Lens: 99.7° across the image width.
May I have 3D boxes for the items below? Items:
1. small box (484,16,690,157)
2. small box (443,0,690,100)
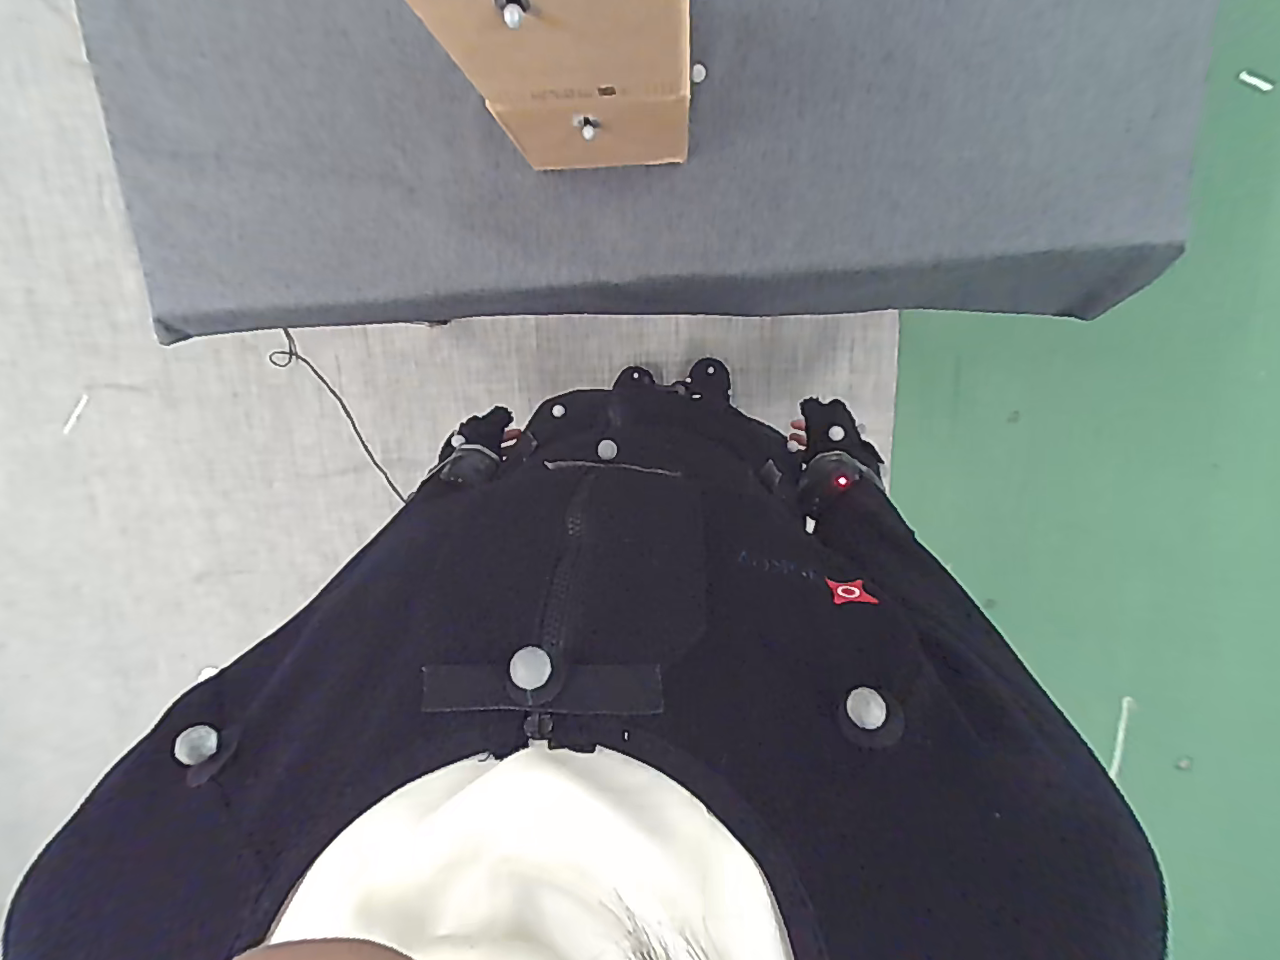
[{"bbox_3d":[-0.042,-0.427,0.517,0.179,0.176,0.168,-1,104,4],"label":"small box"},{"bbox_3d":[-0.052,-0.392,0.360,0.168,0.176,0.179,-2,104,4],"label":"small box"}]
